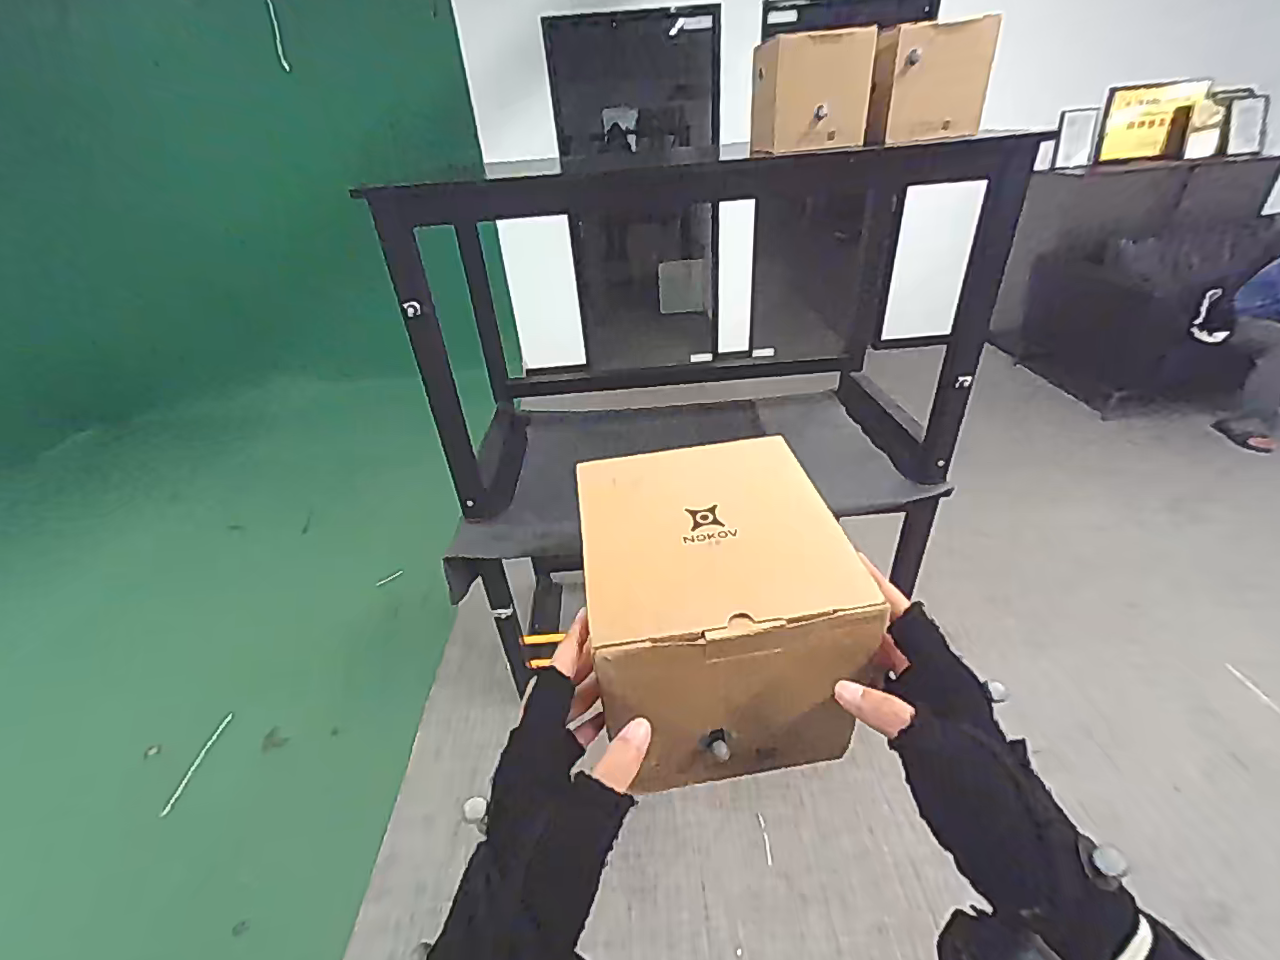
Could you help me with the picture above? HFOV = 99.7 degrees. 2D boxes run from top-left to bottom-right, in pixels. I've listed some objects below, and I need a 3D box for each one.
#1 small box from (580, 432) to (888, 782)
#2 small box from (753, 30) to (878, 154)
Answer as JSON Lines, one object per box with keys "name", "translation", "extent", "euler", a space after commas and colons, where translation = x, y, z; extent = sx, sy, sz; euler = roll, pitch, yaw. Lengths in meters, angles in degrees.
{"name": "small box", "translation": [0.048, 0.087, 0.401], "extent": [0.168, 0.176, 0.179], "euler": [-8, 37, -4]}
{"name": "small box", "translation": [0.309, -0.702, 0.994], "extent": [0.168, 0.176, 0.179], "euler": [-5, 33, -1]}
